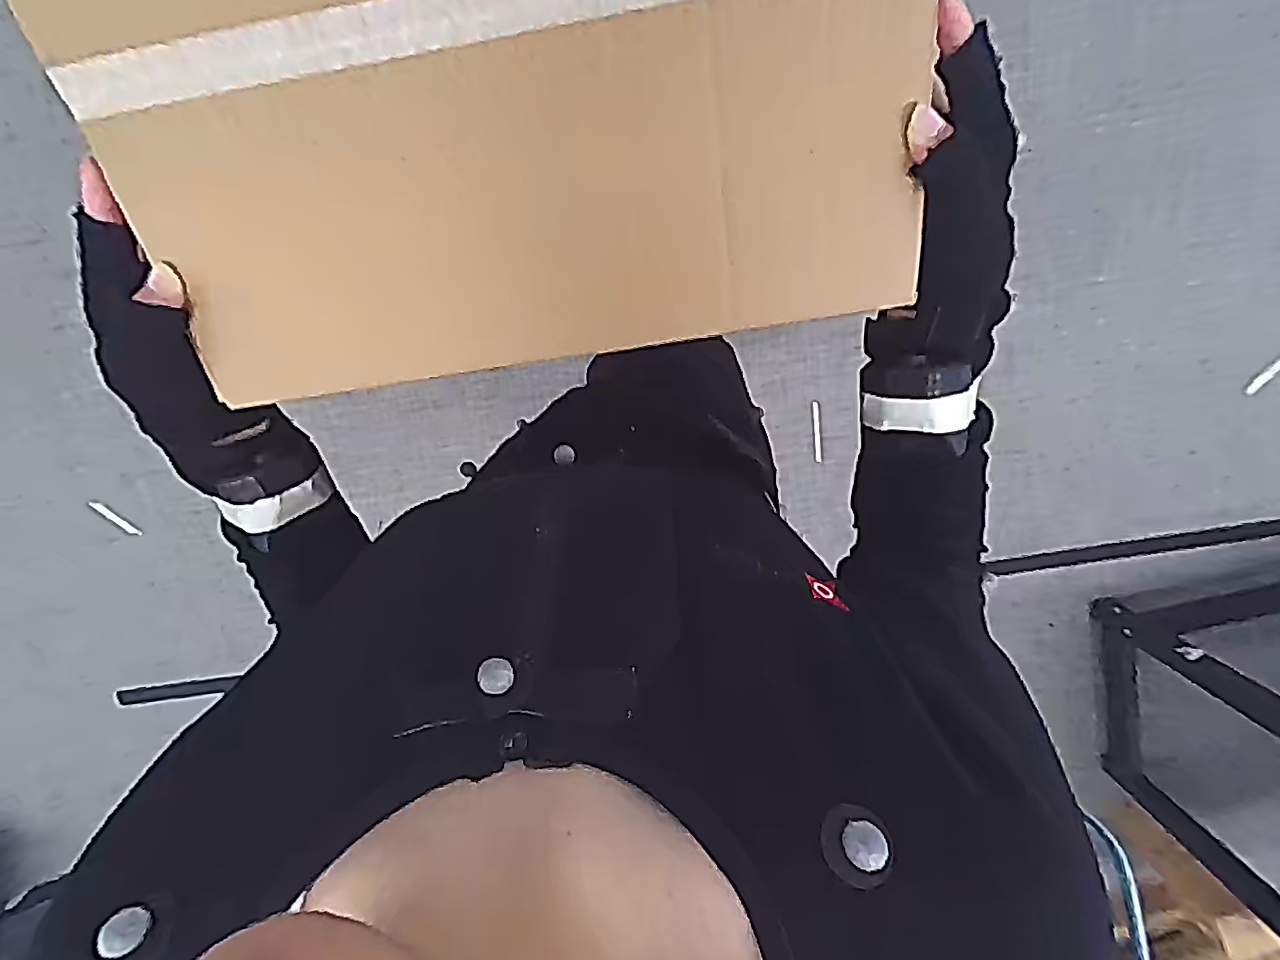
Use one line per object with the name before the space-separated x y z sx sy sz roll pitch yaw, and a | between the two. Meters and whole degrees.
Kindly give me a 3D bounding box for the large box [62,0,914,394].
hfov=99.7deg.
large box | -0.072 -0.281 0.391 0.408 0.320 0.320 -8 116 4
